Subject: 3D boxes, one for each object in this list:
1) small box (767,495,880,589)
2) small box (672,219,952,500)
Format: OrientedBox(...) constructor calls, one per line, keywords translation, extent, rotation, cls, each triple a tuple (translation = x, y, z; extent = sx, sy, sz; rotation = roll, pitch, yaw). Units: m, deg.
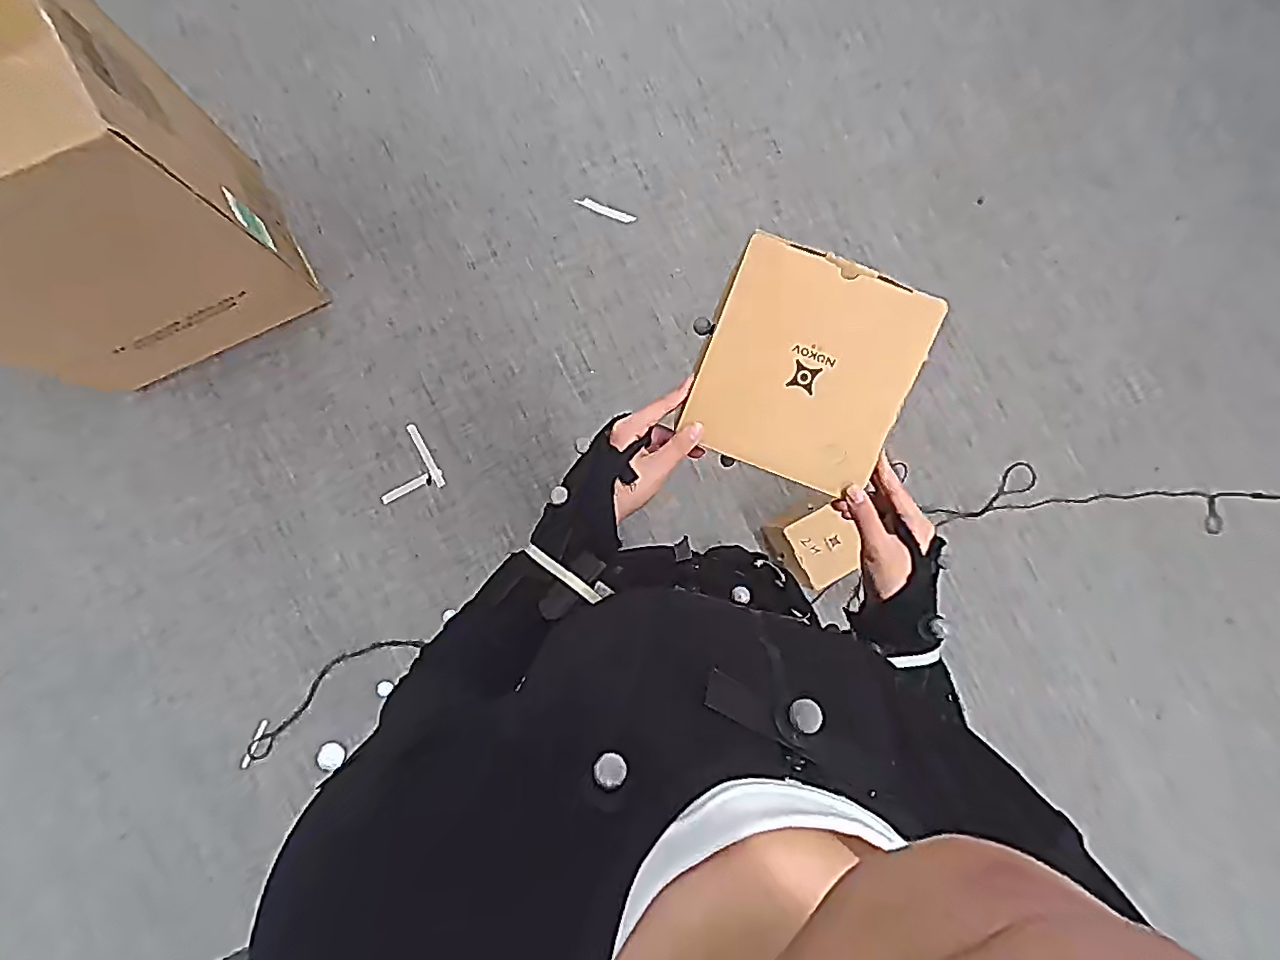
OrientedBox(translation=(0.440, 0.143, 1.322), extent=(0.179, 0.176, 0.168), rotation=(-28, 89, -4), cls="small box")
OrientedBox(translation=(0.138, -0.103, 0.502), extent=(0.168, 0.176, 0.179), rotation=(21, 99, 0), cls="small box")
